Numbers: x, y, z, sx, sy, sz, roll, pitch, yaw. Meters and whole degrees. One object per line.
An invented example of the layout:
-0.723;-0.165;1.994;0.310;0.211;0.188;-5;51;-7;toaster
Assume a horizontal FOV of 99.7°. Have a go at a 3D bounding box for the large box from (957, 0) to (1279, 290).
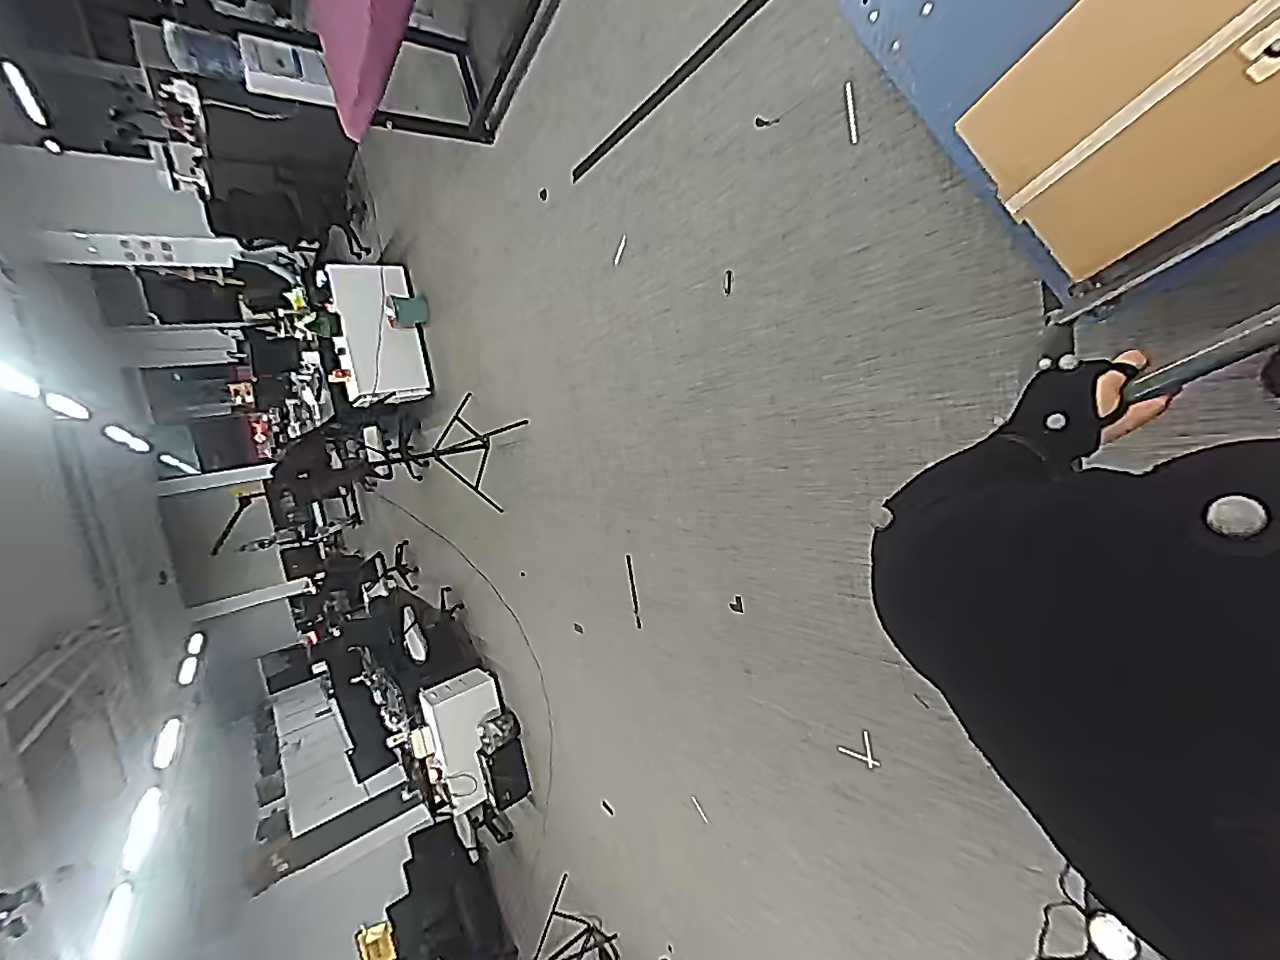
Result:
0.759;-0.535;0.752;0.320;0.320;0.408;57;141;7;large box
